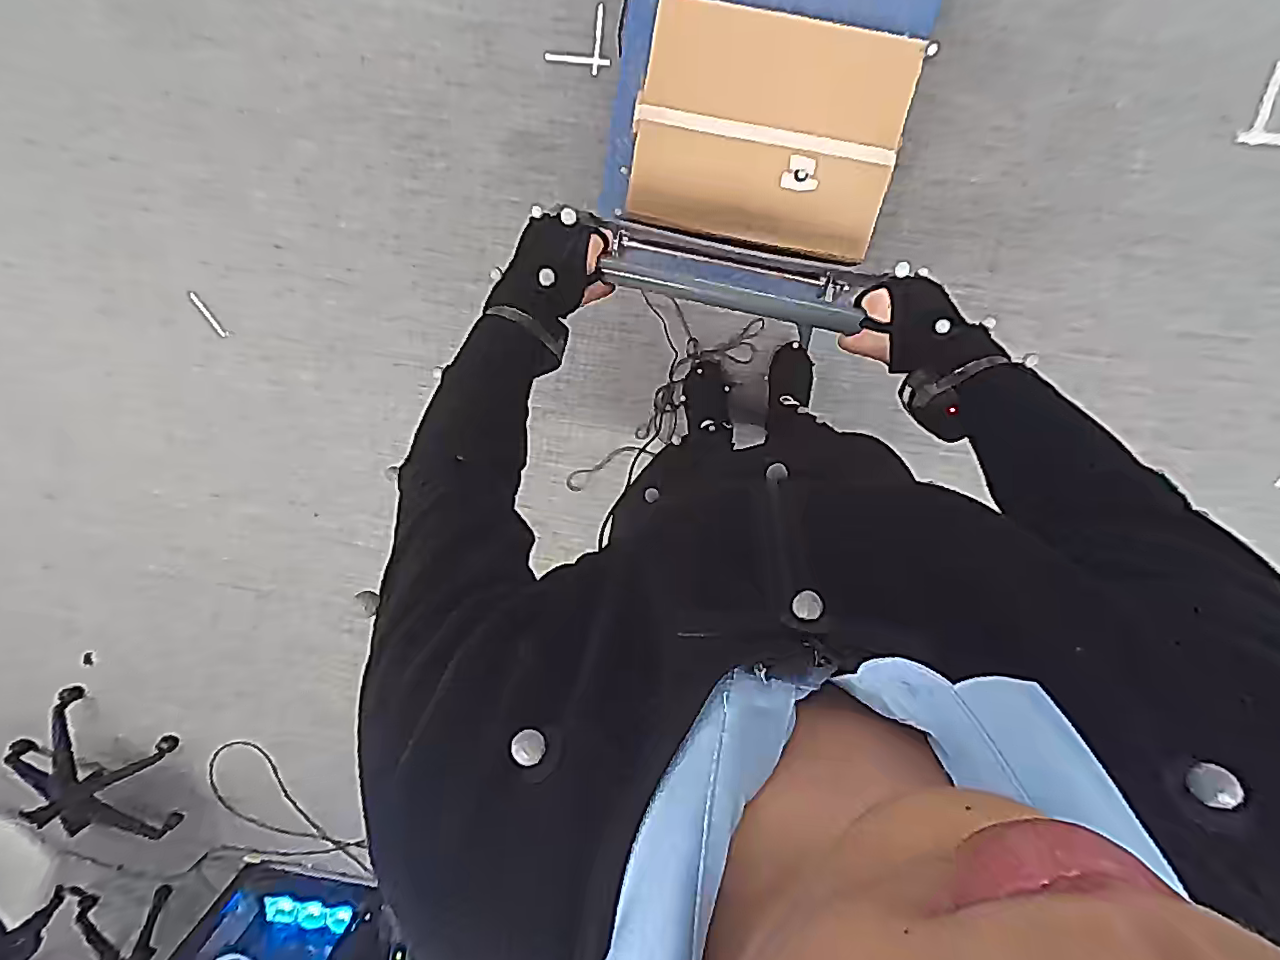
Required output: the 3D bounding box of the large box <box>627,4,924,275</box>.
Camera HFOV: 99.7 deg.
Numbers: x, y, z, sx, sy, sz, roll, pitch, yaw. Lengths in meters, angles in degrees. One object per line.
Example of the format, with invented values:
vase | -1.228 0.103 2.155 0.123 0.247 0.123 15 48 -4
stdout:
large box | 0.206 -0.573 0.983 0.408 0.320 0.320 12 110 1
